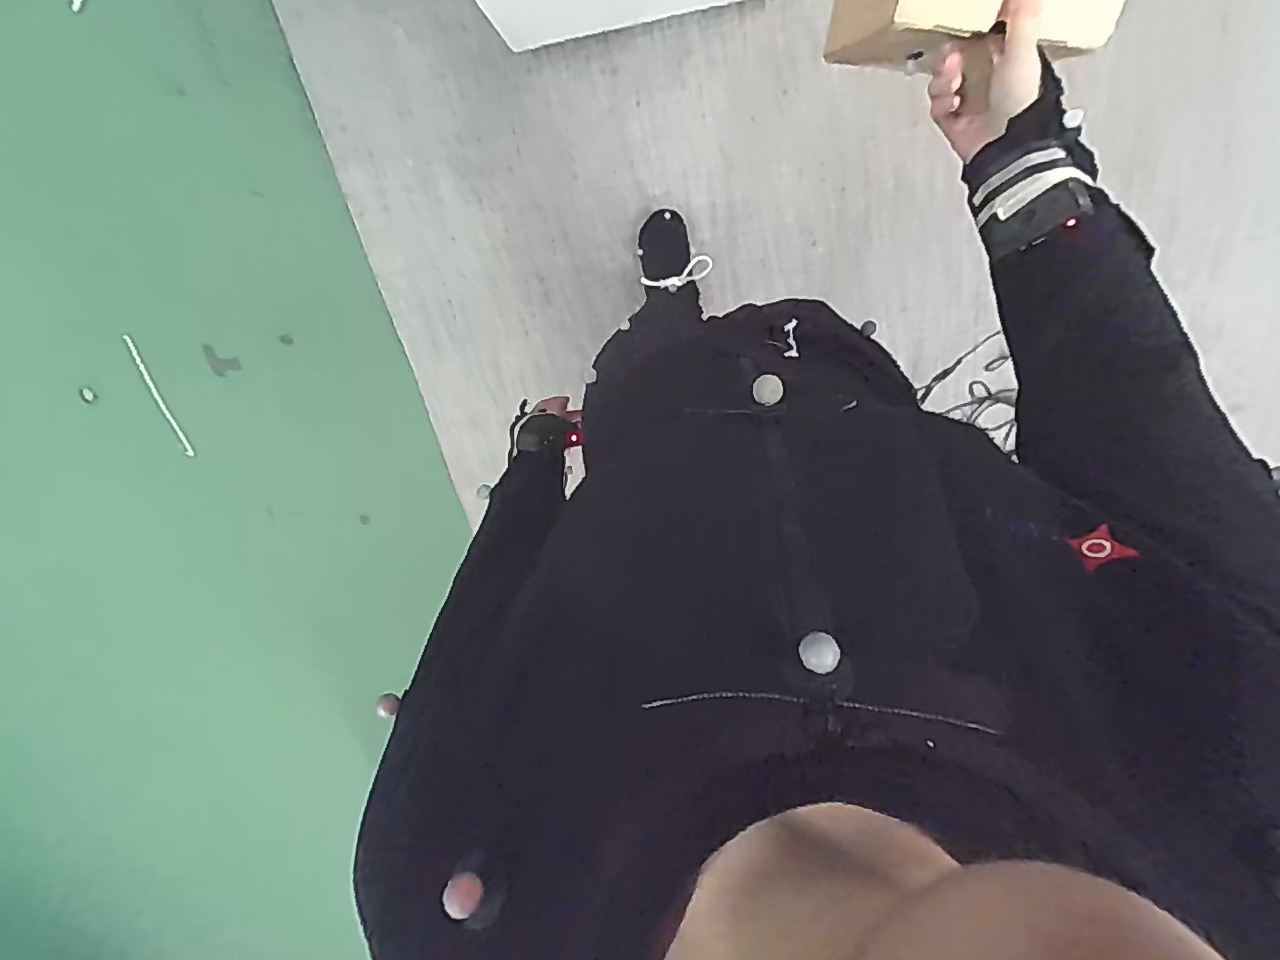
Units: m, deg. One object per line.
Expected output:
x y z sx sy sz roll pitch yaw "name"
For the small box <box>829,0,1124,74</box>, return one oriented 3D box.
0.266 -0.441 0.419 0.168 0.176 0.179 3 121 -3 "small box"
